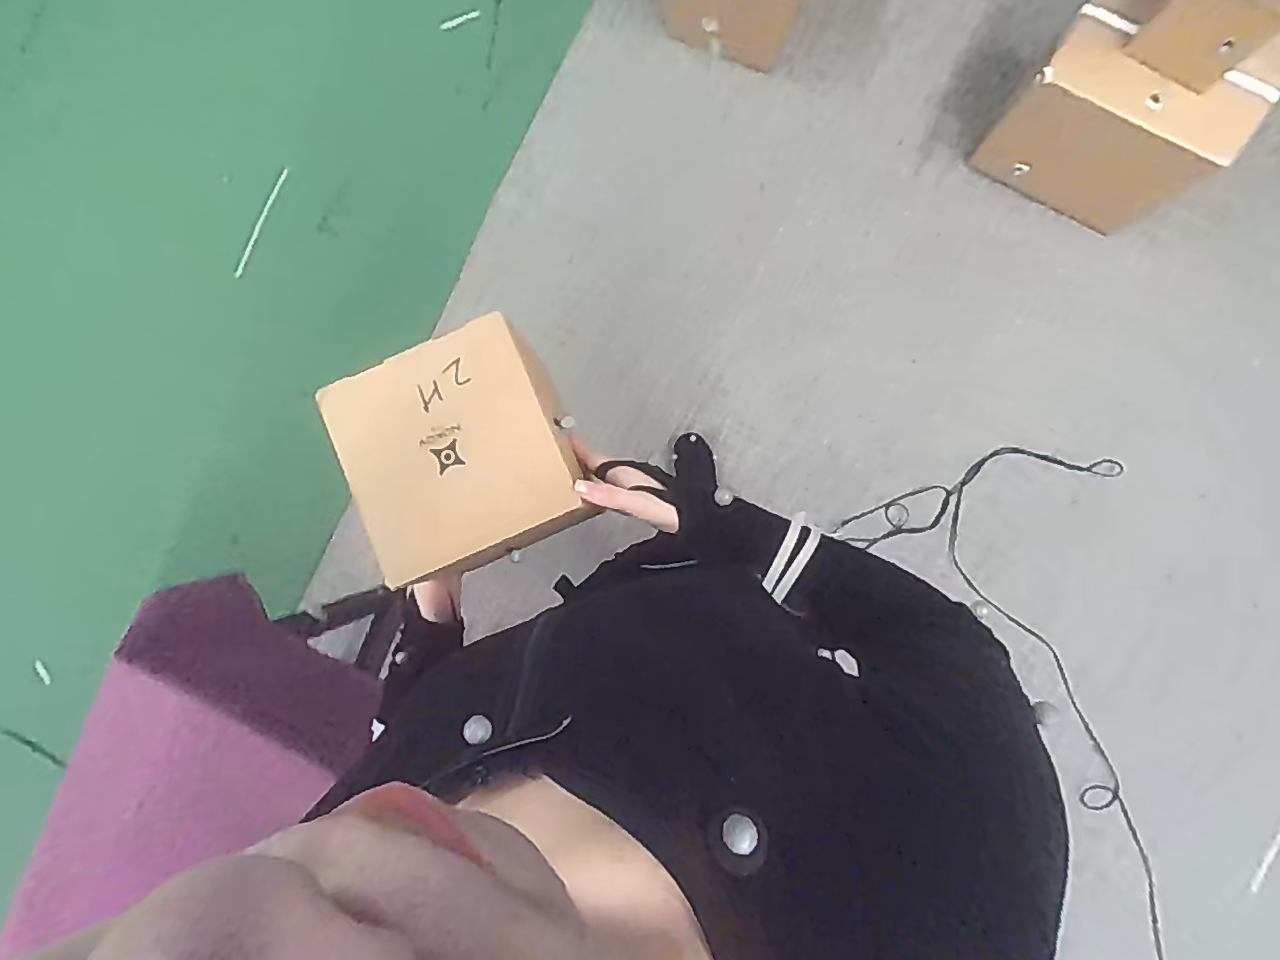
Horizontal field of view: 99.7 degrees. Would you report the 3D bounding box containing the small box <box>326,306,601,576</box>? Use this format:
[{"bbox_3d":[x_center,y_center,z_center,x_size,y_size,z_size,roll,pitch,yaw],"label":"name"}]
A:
[{"bbox_3d":[-0.145,-0.027,0.508,0.168,0.176,0.179,-22,85,0],"label":"small box"}]

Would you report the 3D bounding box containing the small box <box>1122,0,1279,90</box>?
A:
[{"bbox_3d":[1.064,-0.868,0.989,0.179,0.176,0.168,36,91,6],"label":"small box"}]

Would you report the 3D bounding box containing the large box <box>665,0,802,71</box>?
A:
[{"bbox_3d":[0.275,-1.345,1.329,0.320,0.320,0.408,26,91,6],"label":"large box"}]
